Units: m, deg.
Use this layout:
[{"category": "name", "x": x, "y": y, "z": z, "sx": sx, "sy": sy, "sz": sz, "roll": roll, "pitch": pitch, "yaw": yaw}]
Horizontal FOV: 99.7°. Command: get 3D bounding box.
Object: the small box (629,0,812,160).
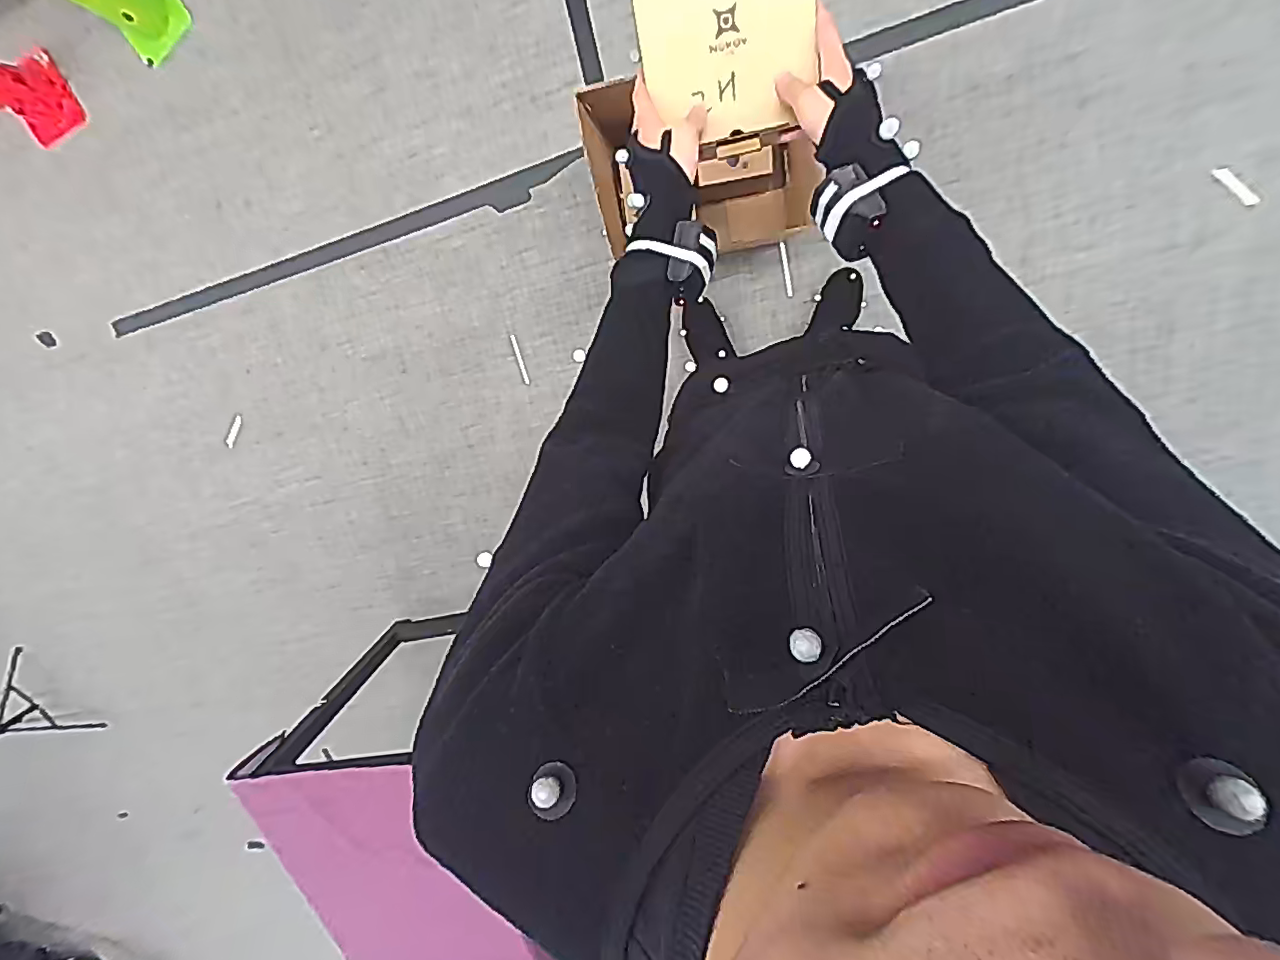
[{"category": "small box", "x": 0.082, "y": -0.461, "z": 0.575, "sx": 0.168, "sy": 0.176, "sz": 0.179, "roll": -7, "pitch": 115, "yaw": 11}]
